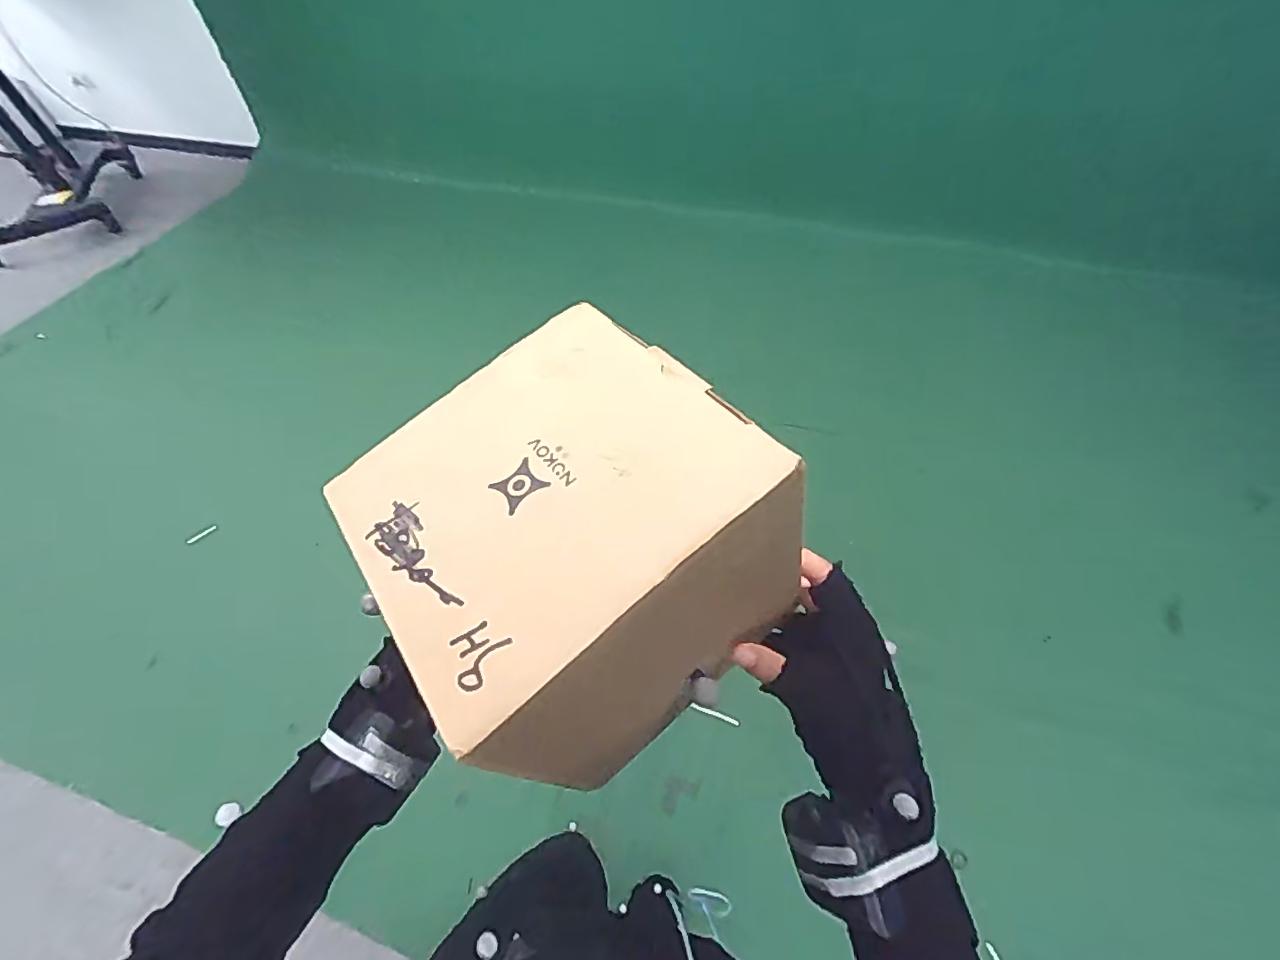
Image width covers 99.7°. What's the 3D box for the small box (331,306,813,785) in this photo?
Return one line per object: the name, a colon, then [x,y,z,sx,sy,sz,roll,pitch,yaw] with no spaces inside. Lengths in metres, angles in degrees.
small box: [-0.026,0.042,0.312,0.179,0.176,0.168,-38,55,-12]
